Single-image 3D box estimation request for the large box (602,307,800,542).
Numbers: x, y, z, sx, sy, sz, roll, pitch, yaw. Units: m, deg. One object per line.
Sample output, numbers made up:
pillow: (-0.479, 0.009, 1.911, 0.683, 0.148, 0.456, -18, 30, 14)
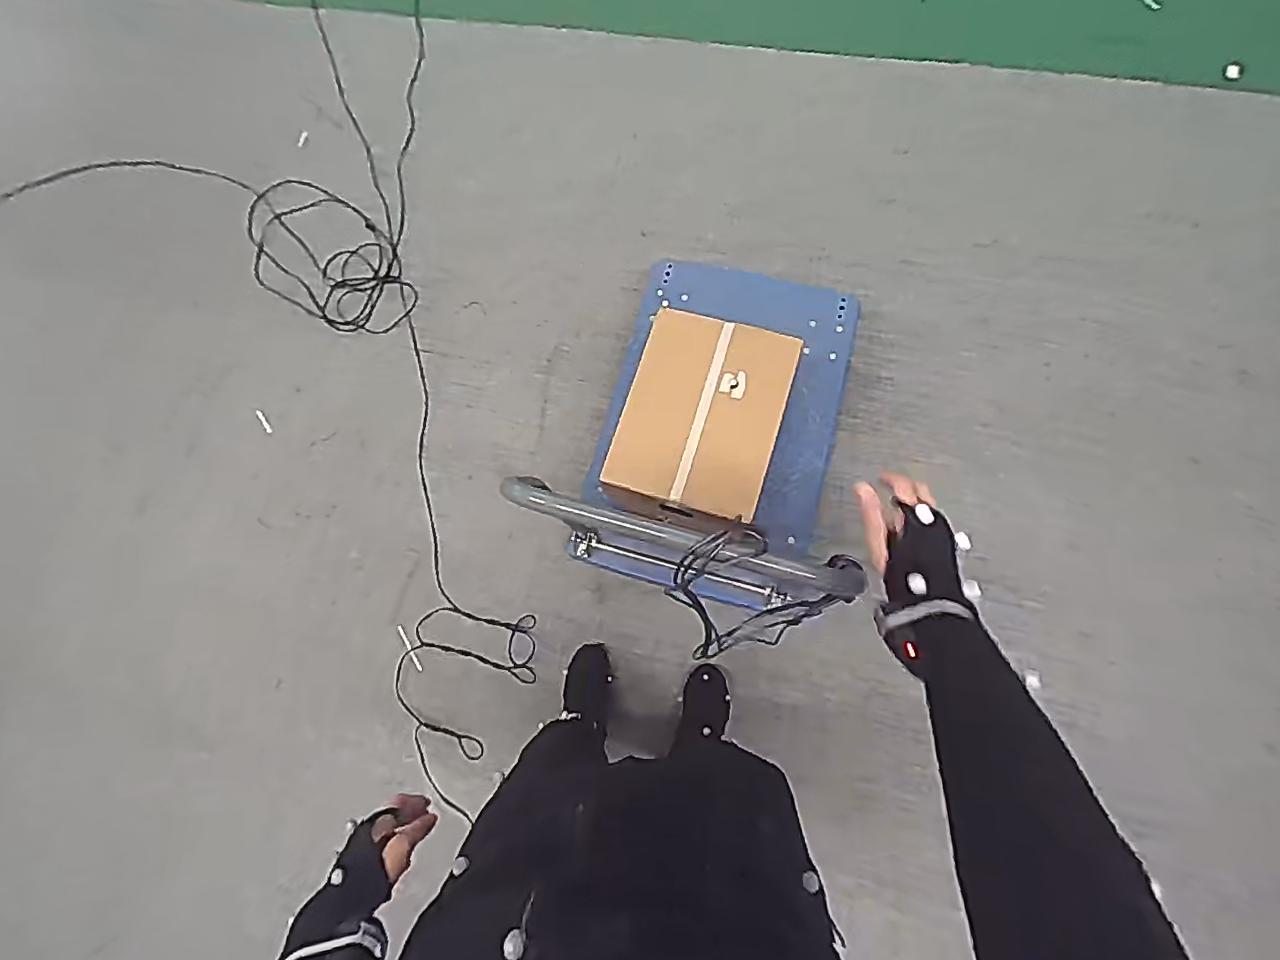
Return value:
large box: (0.139, -0.107, 1.228, 0.320, 0.320, 0.408, 17, 78, 9)
